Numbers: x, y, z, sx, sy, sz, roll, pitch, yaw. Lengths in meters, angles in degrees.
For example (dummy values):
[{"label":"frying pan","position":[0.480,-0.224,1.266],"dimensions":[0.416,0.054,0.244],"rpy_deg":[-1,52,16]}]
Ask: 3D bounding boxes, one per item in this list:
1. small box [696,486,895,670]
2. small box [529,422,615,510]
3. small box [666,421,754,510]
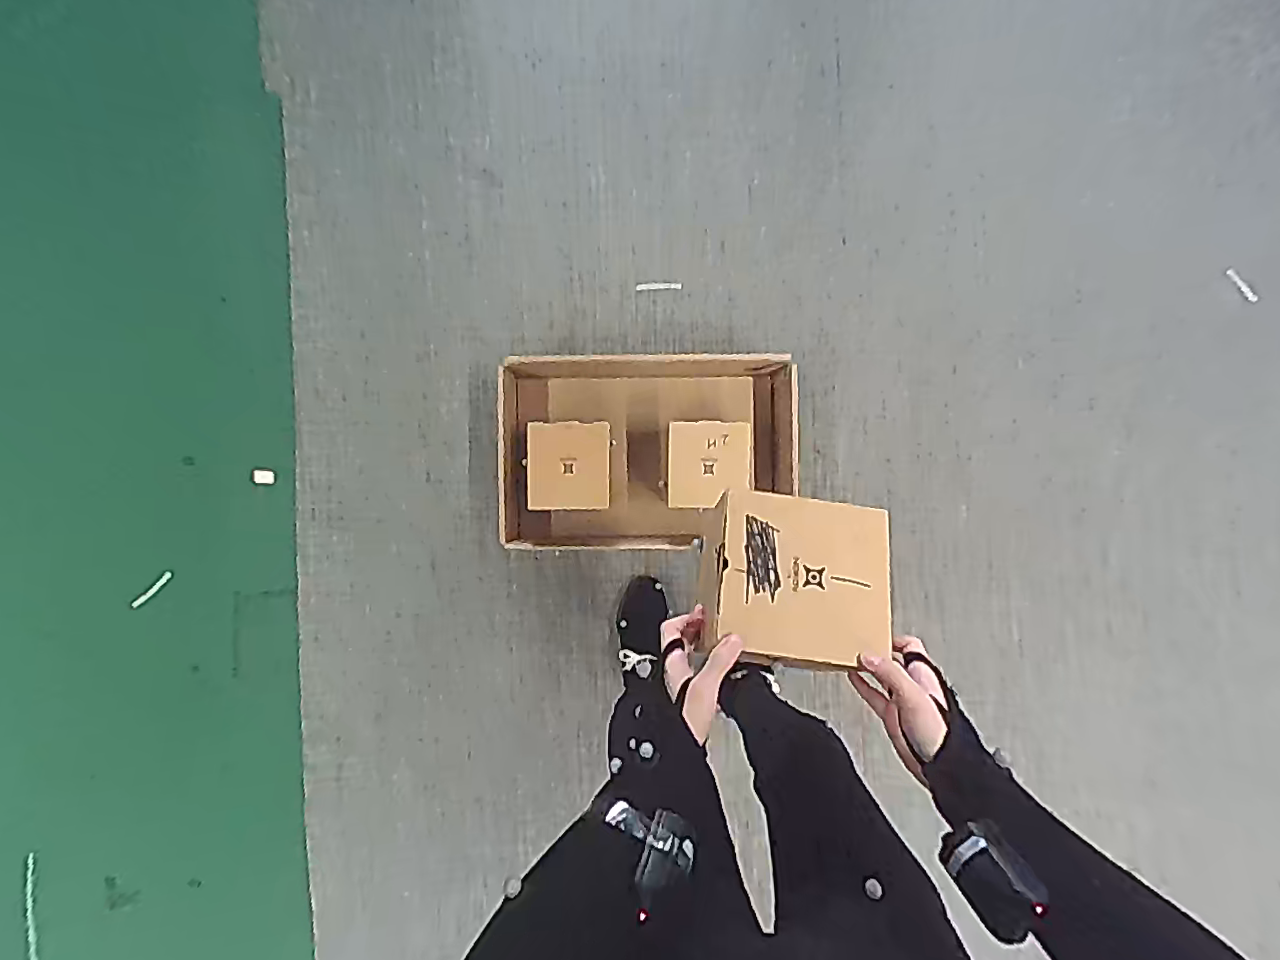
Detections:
[{"label":"small box","position":[0.165,0.120,0.620],"dimensions":[0.179,0.176,0.168],"rpy_deg":[9,70,-1]},{"label":"small box","position":[-0.138,-0.027,1.155],"dimensions":[0.168,0.176,0.179],"rpy_deg":[0,89,-1]},{"label":"small box","position":[0.144,-0.028,1.157],"dimensions":[0.168,0.176,0.179],"rpy_deg":[1,90,0]}]
